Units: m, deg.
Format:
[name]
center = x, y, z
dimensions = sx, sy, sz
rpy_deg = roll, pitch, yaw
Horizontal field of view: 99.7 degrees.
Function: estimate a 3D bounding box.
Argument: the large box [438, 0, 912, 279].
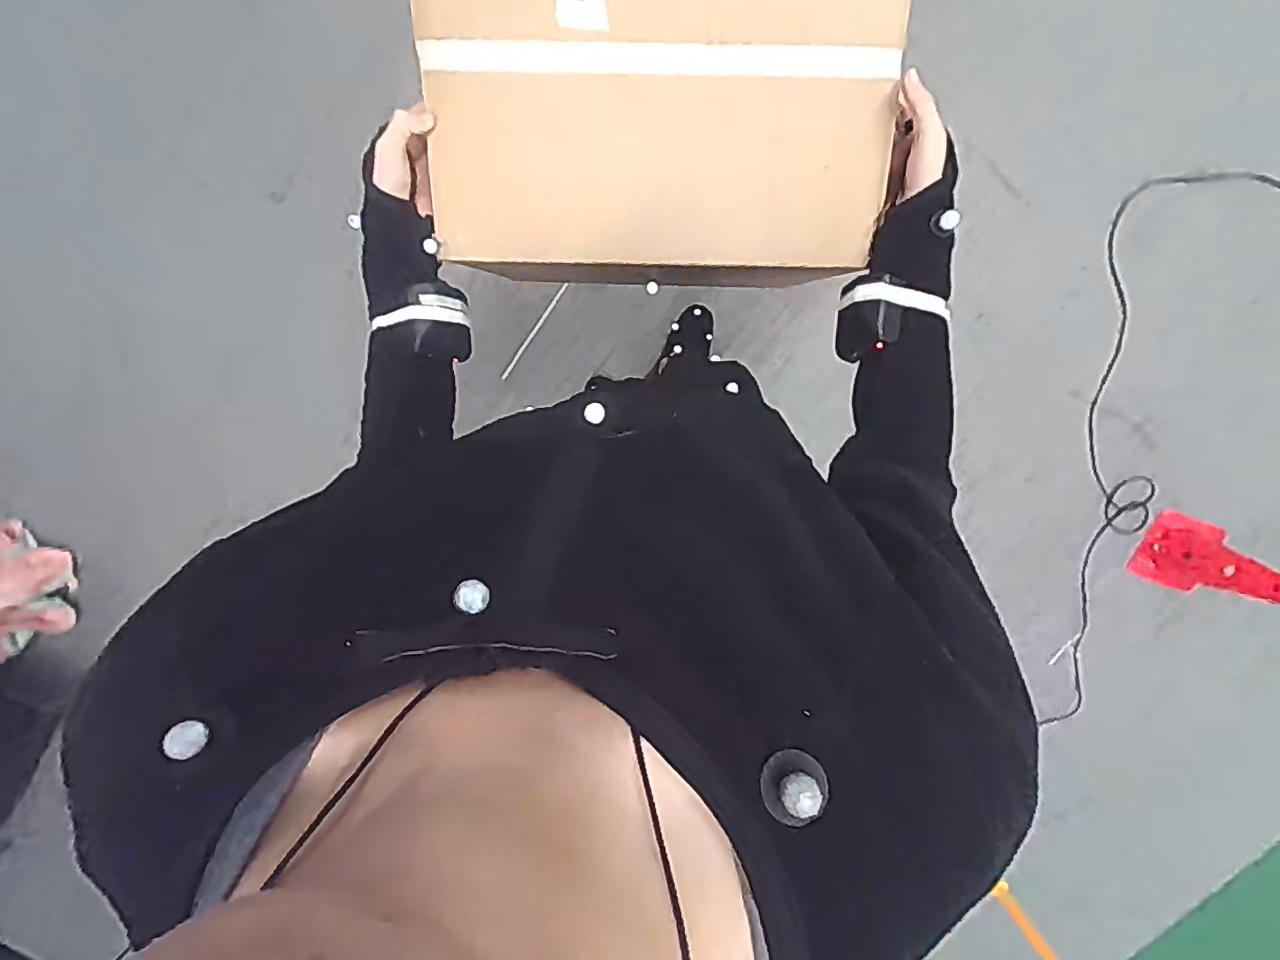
[large box]
center = 0.030, -0.396, 0.607
dimensions = 0.408, 0.320, 0.320
rpy_deg = 1, 106, 0
